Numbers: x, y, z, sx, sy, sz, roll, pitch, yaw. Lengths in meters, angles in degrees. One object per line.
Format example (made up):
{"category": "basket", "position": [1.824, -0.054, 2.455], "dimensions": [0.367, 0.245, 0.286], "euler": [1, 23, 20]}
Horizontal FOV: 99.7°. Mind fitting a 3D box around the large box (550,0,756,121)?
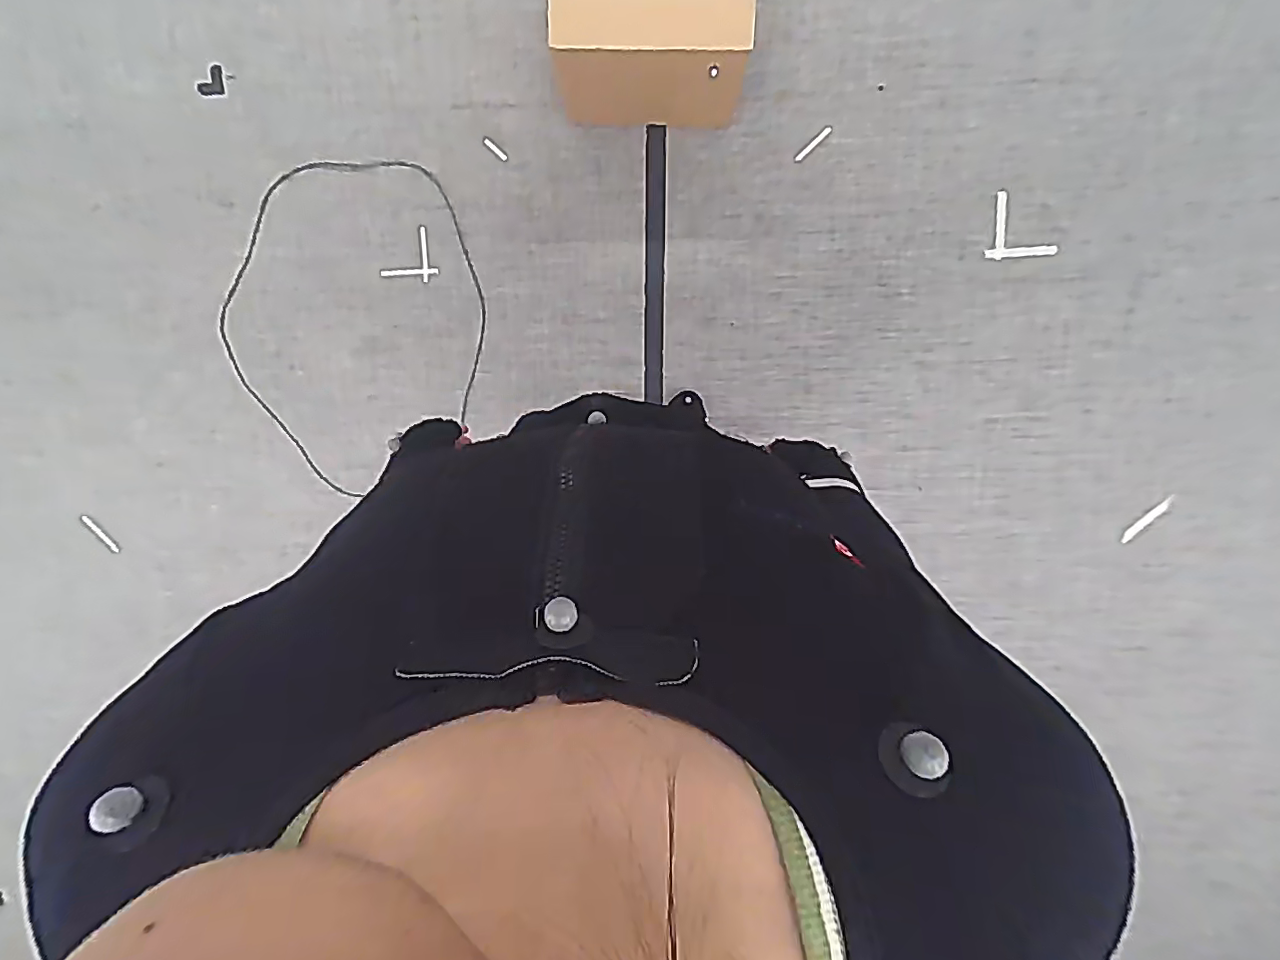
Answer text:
{"category": "large box", "position": [0.030, -1.014, 1.173], "dimensions": [0.408, 0.320, 0.320], "euler": [2, 99, 1]}
